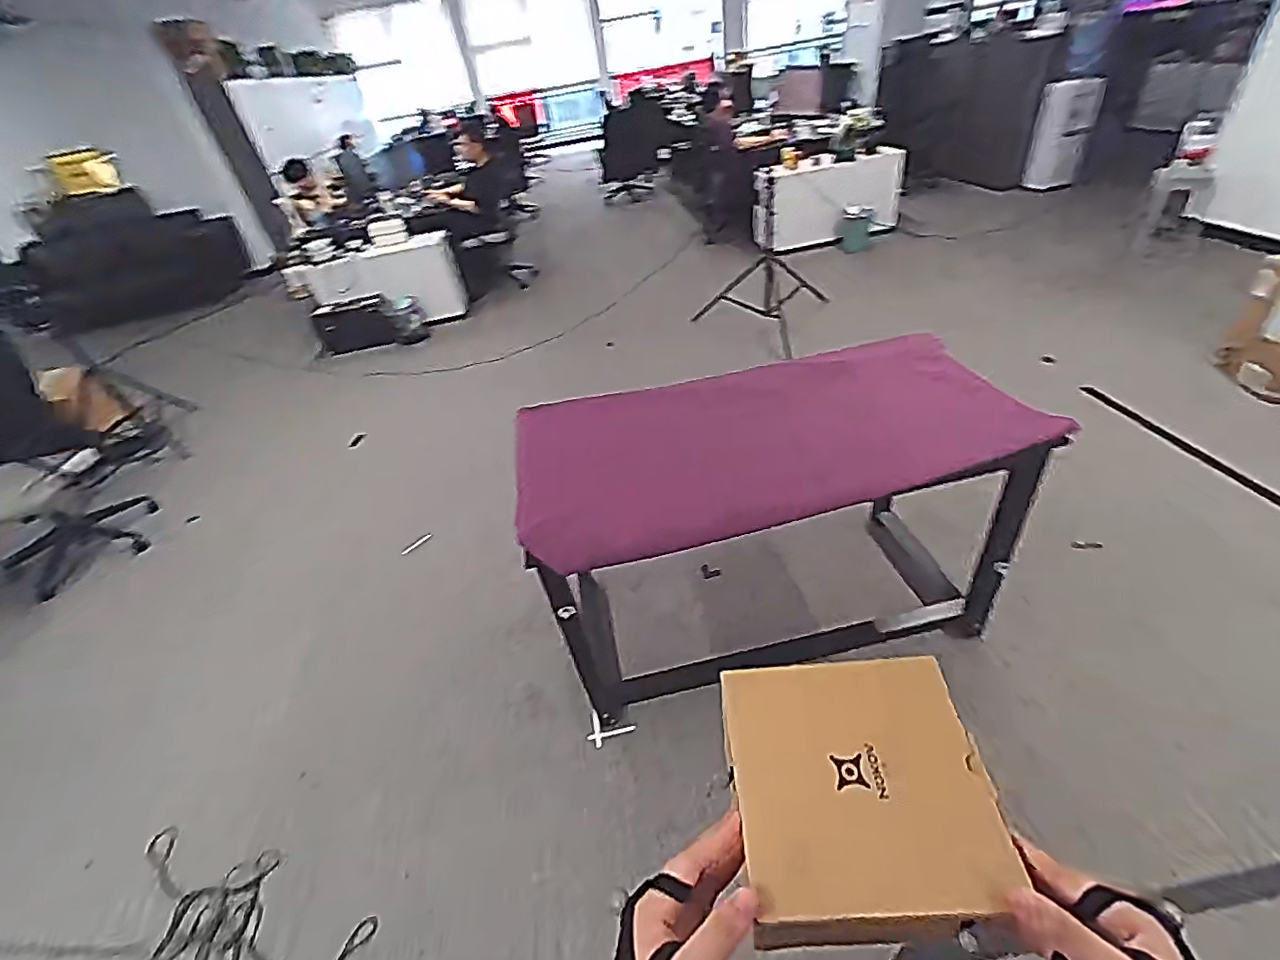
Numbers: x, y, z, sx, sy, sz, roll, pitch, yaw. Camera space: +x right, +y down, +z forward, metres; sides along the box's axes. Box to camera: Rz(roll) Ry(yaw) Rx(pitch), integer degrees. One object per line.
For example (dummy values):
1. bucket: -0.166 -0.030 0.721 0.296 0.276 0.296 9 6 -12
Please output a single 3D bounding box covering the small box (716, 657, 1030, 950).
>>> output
1. small box: 0.162 0.268 0.446 0.179 0.176 0.168 -6 44 4
